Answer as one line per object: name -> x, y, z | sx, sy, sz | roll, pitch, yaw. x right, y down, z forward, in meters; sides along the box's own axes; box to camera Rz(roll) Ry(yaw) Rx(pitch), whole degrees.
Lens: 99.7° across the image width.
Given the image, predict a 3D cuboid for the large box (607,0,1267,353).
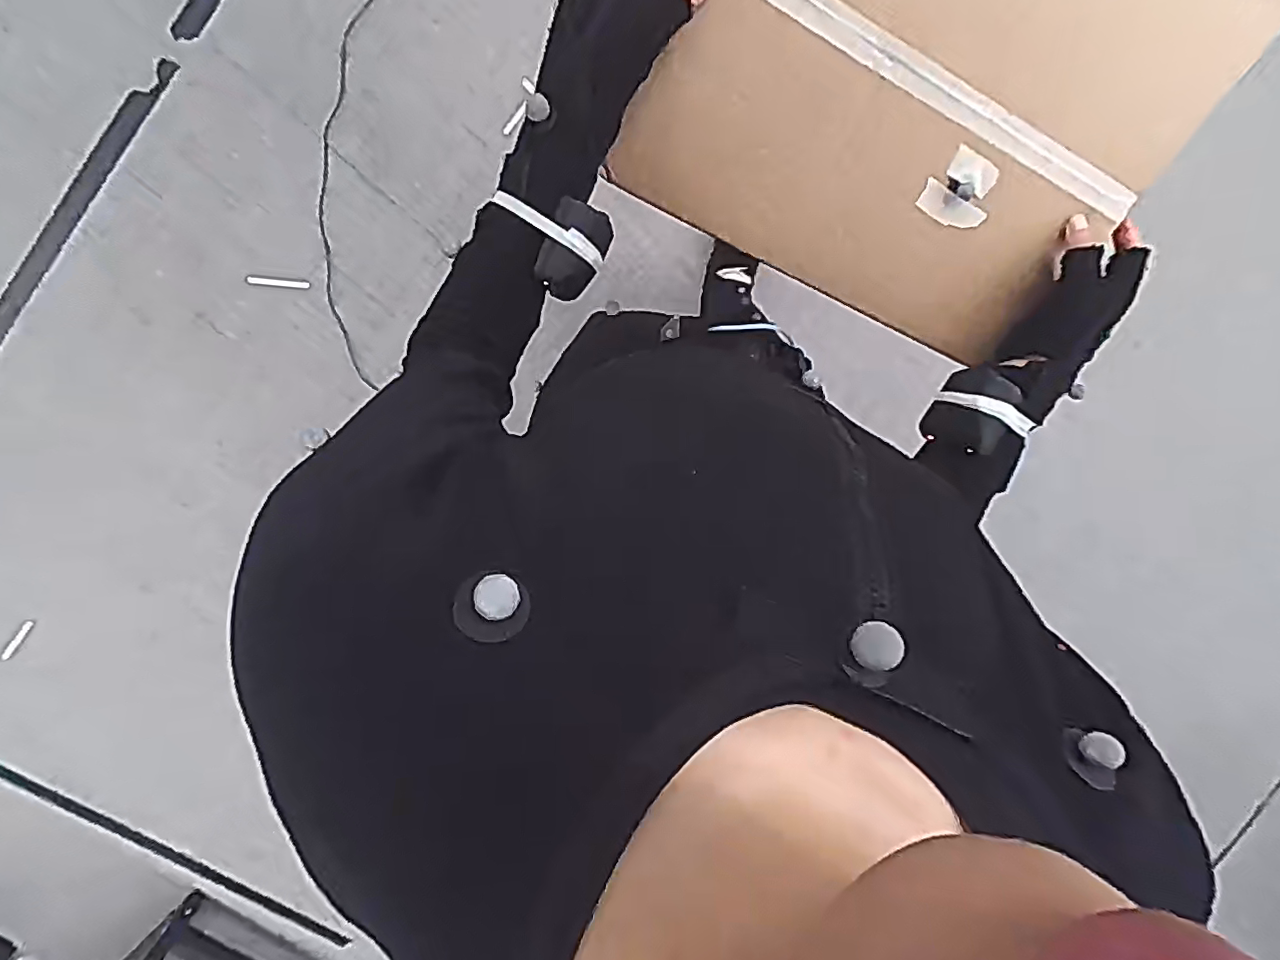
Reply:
large box -> 0.208, -0.387, 0.534 | 0.408, 0.320, 0.320 | 21, 123, -14
